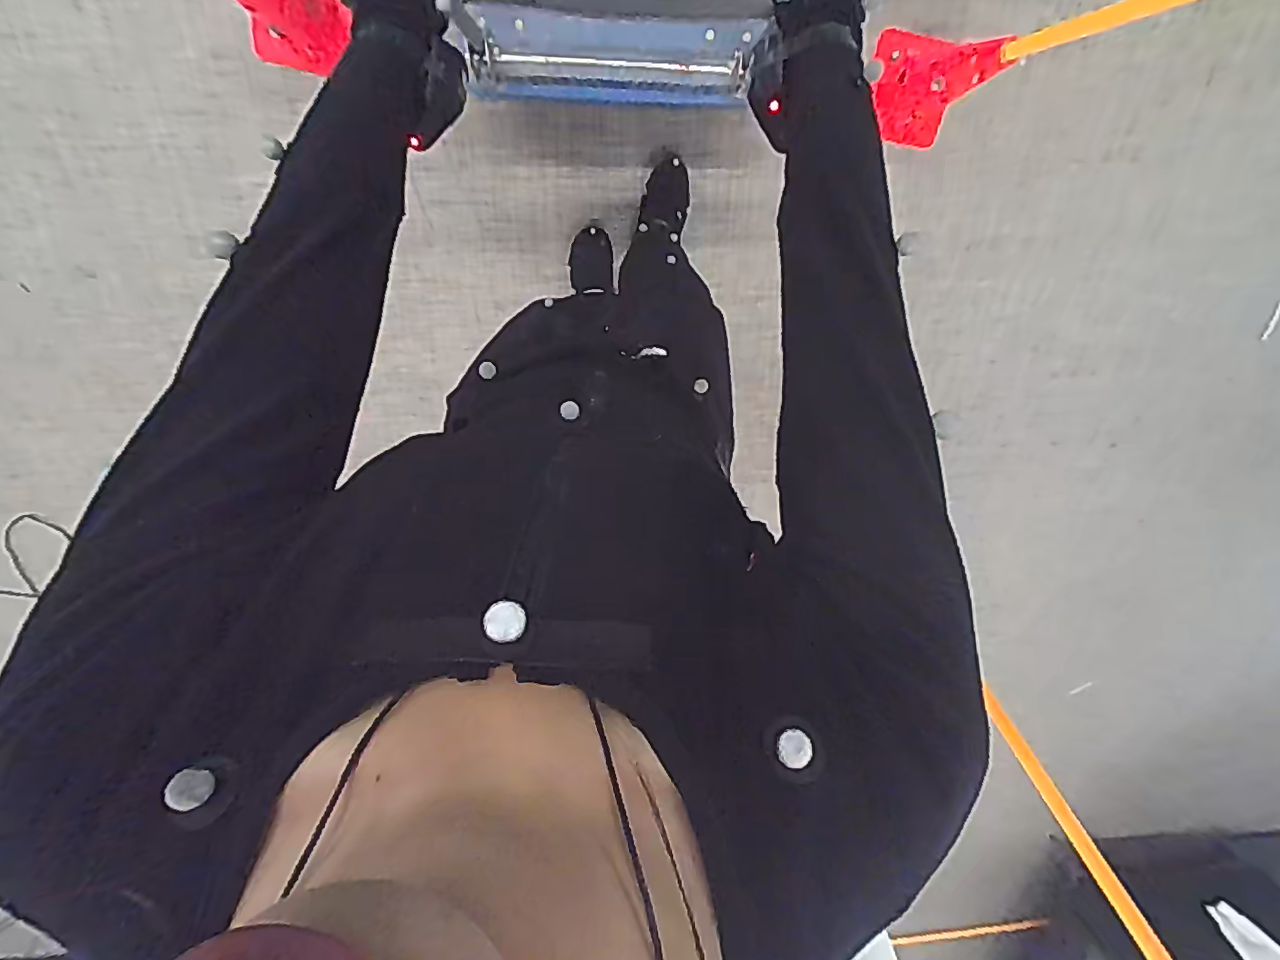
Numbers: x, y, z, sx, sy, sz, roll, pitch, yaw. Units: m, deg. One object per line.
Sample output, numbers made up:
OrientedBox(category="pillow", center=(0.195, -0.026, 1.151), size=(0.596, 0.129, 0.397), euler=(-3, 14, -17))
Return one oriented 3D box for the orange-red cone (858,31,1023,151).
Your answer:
OrientedBox(category="orange-red cone", center=(0.609, -0.781, 1.047), size=(0.198, 0.360, 0.199), euler=(9, 117, -6))
